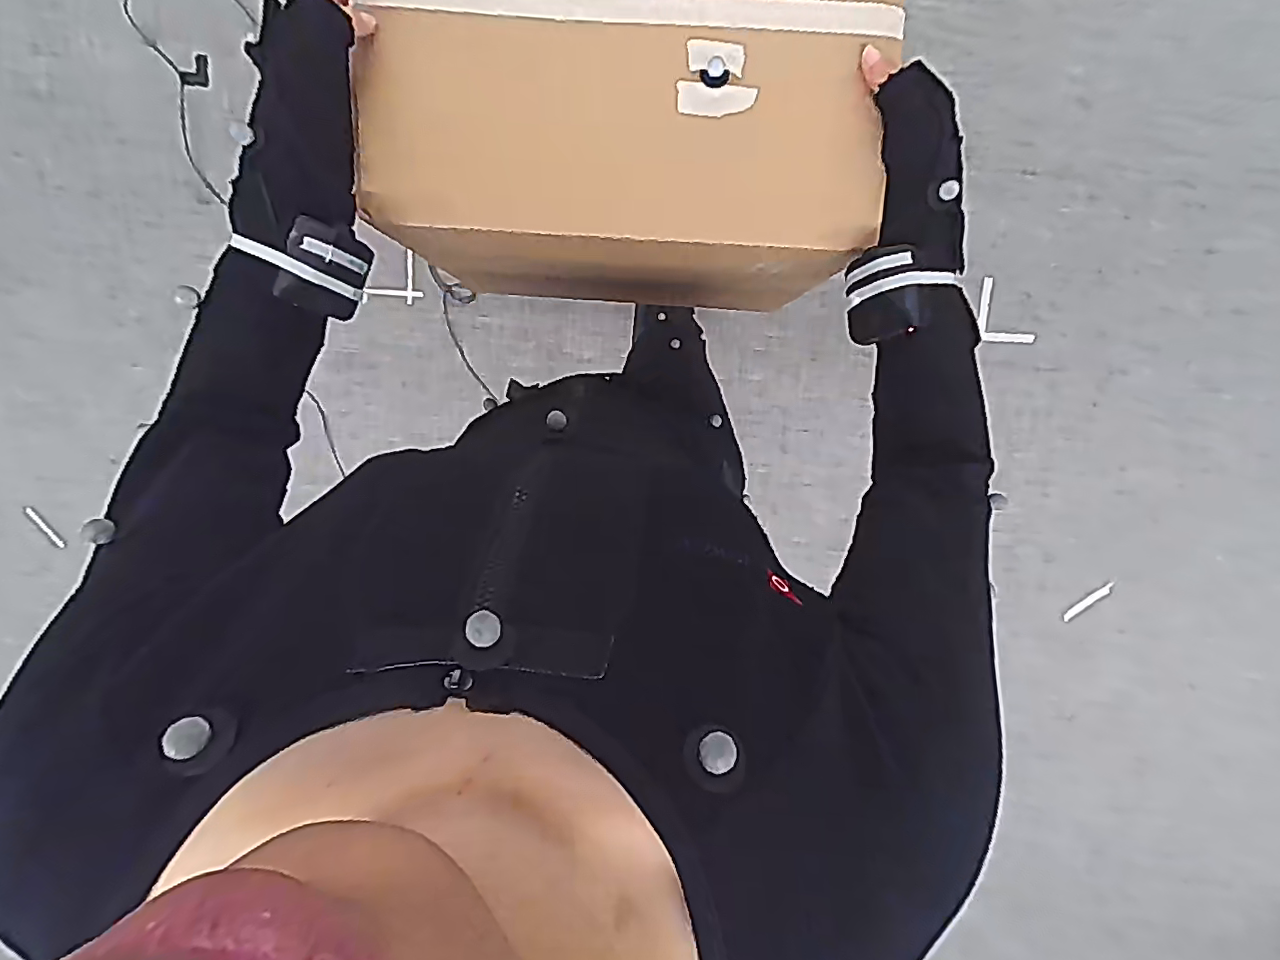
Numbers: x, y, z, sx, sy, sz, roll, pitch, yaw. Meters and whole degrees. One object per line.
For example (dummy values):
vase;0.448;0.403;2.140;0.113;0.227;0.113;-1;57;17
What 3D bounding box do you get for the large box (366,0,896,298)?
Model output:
large box;-0.009;-0.378;0.552;0.408;0.320;0.320;3;99;-1
